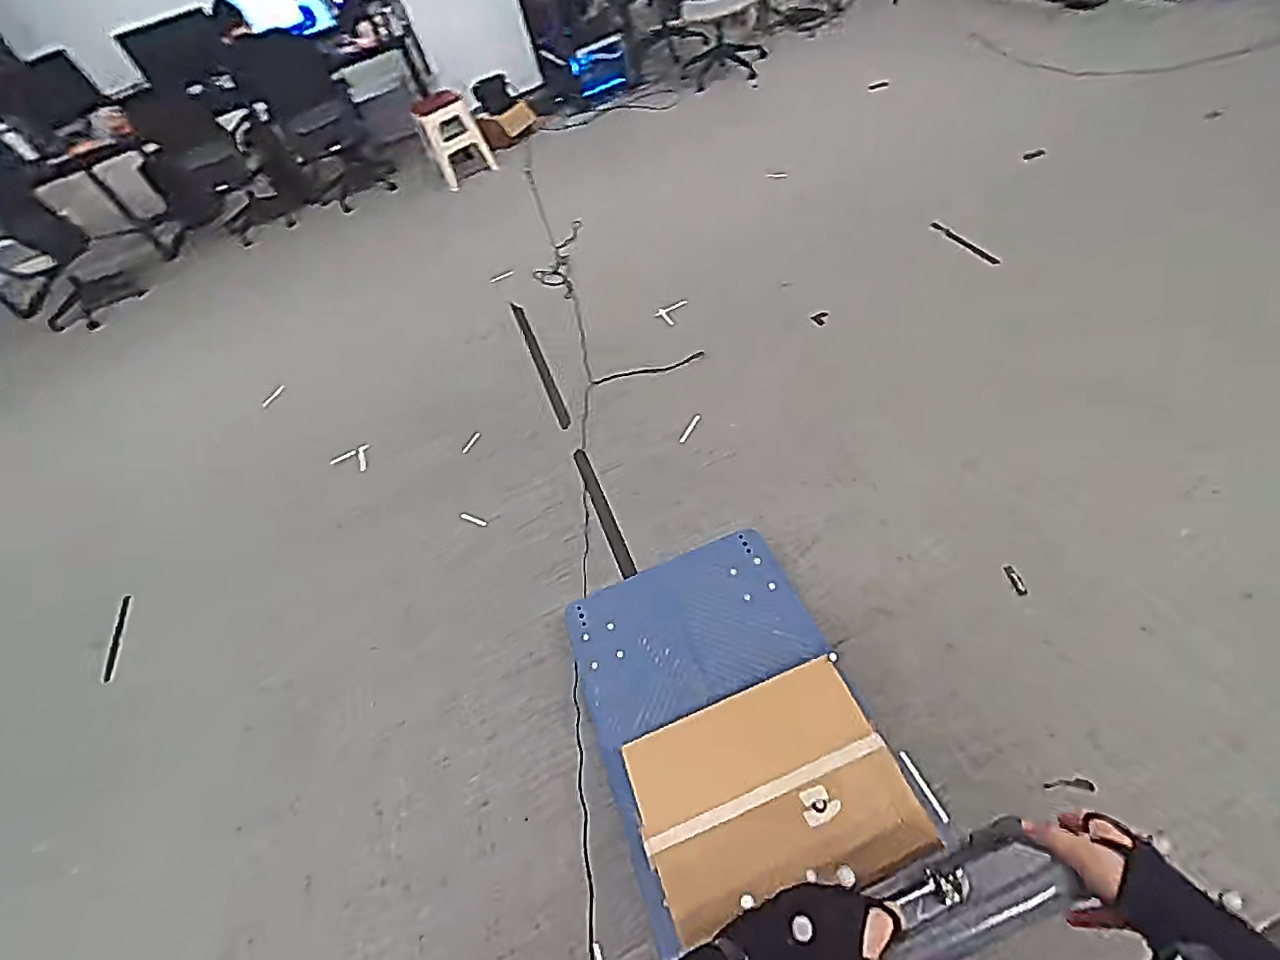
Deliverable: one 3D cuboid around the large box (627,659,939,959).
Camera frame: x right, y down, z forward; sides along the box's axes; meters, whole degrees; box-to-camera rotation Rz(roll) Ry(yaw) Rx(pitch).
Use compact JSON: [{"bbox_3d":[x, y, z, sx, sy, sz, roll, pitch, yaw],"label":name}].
[{"bbox_3d":[0.237,0.596,0.981,0.408,0.320,0.320,-23,51,-3],"label":"large box"}]
